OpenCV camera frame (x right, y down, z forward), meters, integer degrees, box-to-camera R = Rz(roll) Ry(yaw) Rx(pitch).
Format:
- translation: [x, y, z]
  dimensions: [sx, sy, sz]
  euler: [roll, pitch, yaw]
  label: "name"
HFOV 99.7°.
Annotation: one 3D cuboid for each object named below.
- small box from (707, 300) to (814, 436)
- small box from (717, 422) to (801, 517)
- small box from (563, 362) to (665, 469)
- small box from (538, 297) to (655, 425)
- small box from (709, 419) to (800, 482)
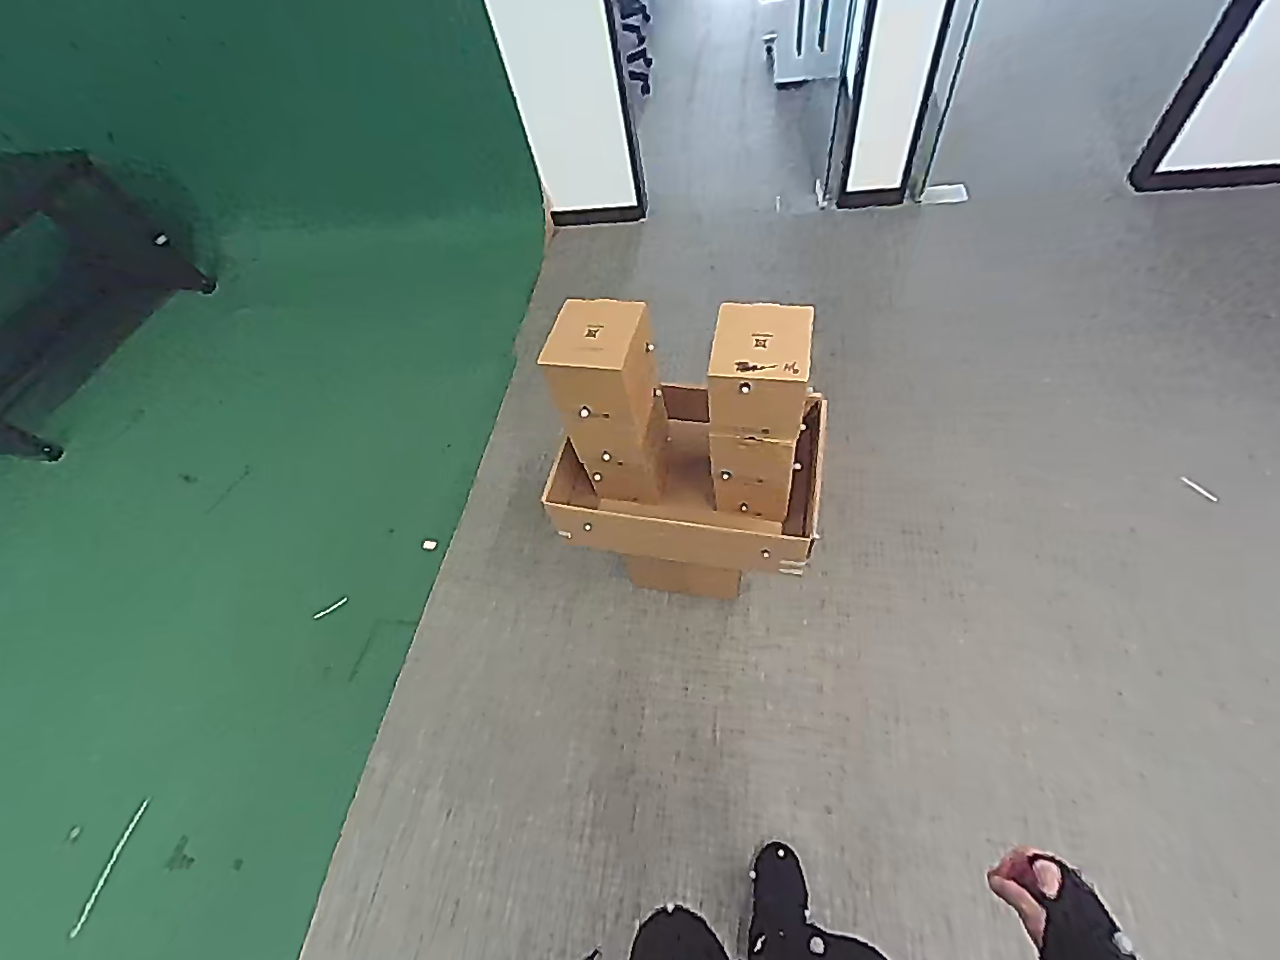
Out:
- translation: [0.219, -0.203, 0.987]
  dimensions: [0.168, 0.176, 0.179]
  euler: [6, 60, 14]
  label: "small box"
- translation: [0.276, -0.035, 1.264]
  dimensions: [0.168, 0.176, 0.179]
  euler: [7, 61, 15]
  label: "small box"
- translation: [-0.047, -0.150, 1.202]
  dimensions: [0.168, 0.176, 0.179]
  euler: [8, 61, 17]
  label: "small box"
- translation: [-0.074, -0.233, 1.065]
  dimensions: [0.168, 0.176, 0.179]
  euler: [7, 61, 17]
  label: "small box"
- translation: [0.245, -0.114, 1.123]
  dimensions: [0.168, 0.176, 0.179]
  euler: [8, 61, 15]
  label: "small box"
